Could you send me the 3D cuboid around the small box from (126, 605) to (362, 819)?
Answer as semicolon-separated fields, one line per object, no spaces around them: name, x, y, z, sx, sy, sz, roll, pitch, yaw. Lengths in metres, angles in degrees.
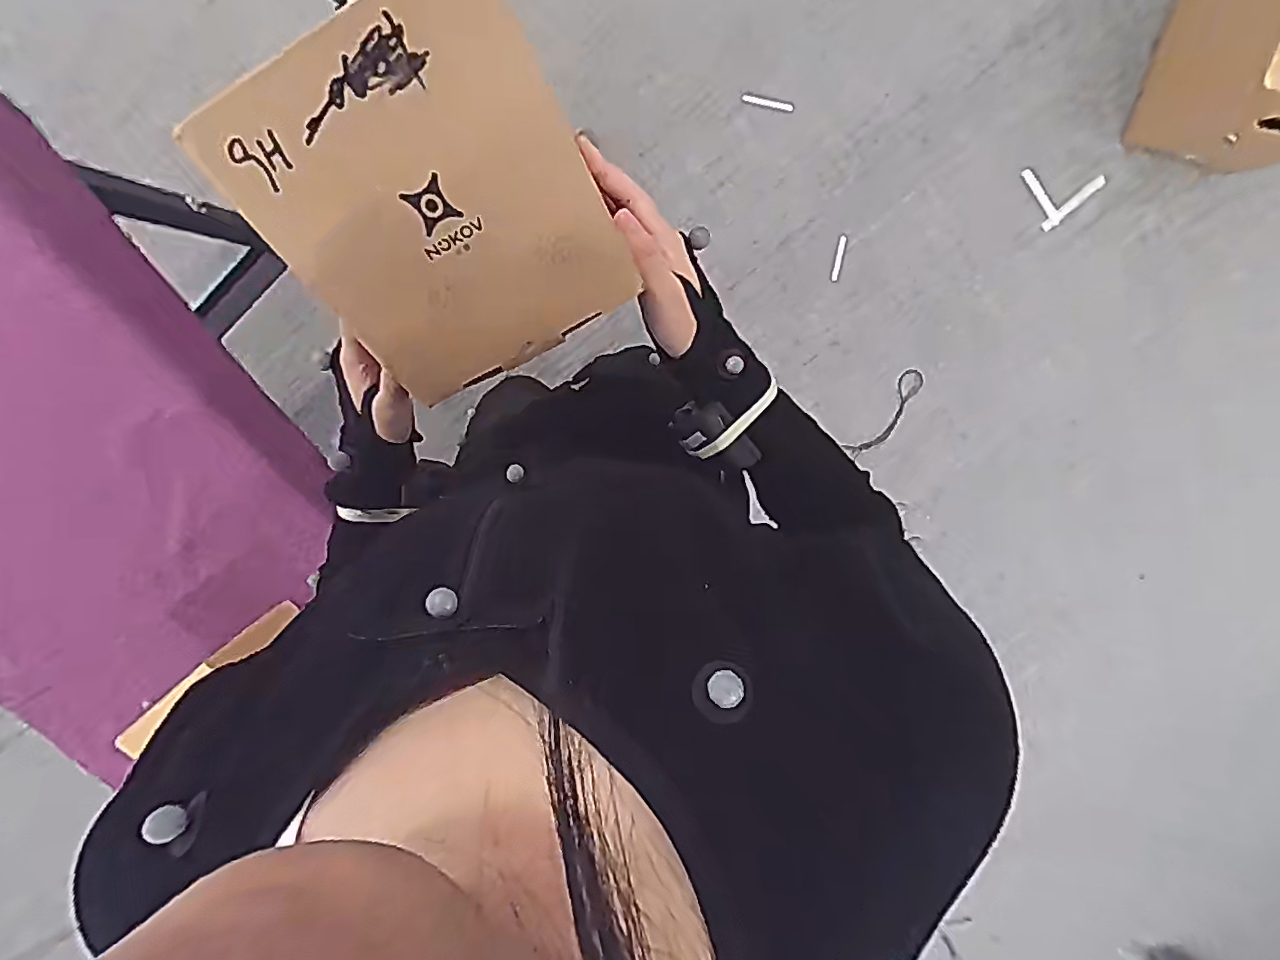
small box;-0.522;0.308;0.749;0.179;0.176;0.168;-39;102;10

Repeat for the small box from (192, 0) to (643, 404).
small box;-0.115;-0.189;0.353;0.168;0.176;0.179;-26;130;10
